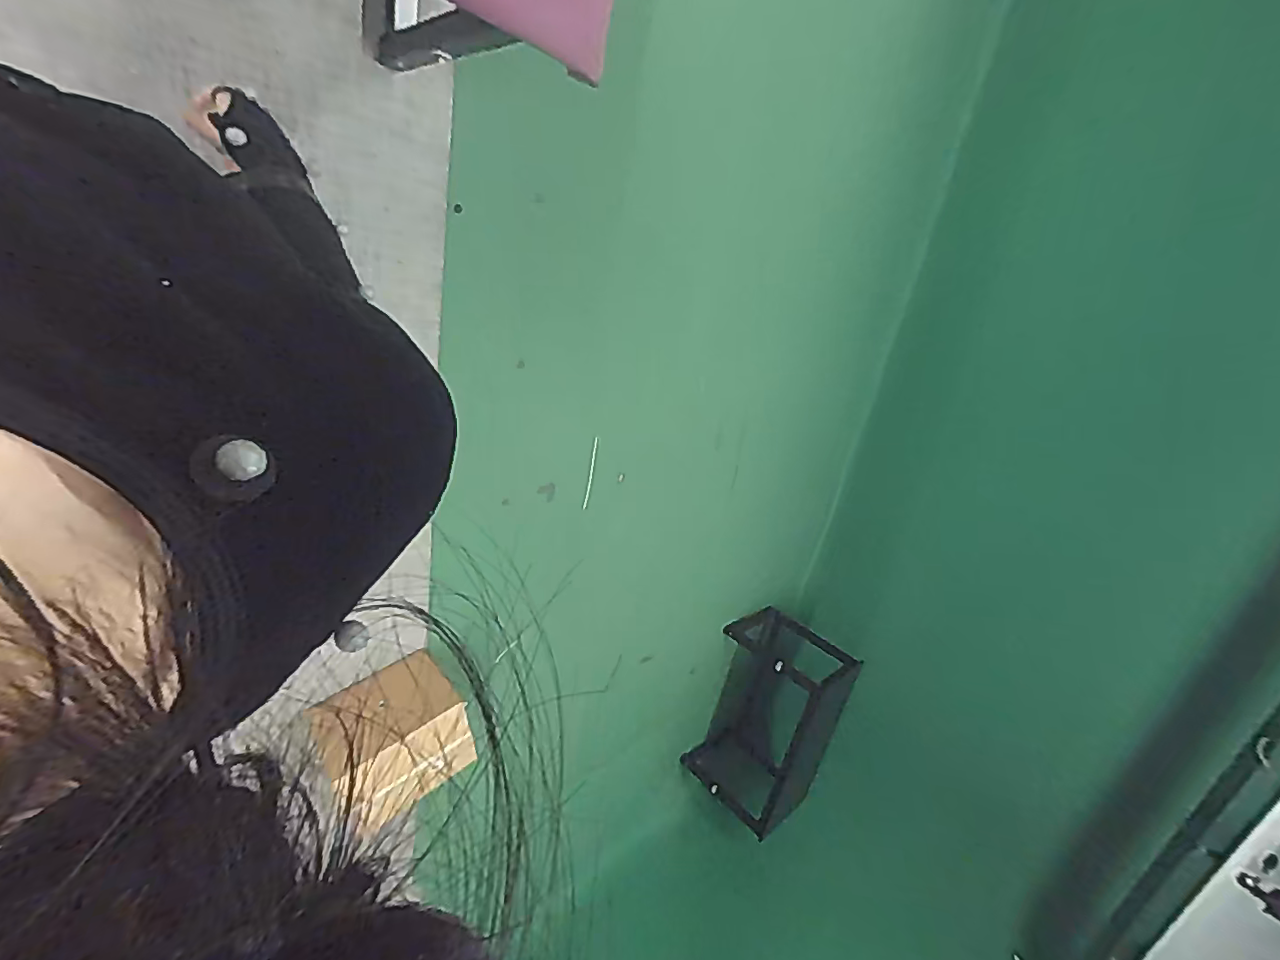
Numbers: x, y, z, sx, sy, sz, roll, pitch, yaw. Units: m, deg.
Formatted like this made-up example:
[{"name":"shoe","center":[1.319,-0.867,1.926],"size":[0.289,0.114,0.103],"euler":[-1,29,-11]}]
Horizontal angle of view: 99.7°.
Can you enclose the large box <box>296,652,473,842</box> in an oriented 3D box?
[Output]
[{"name":"large box","center":[-0.831,0.857,1.787],"size":[0.408,0.320,0.320],"euler":[-26,130,-37]}]
